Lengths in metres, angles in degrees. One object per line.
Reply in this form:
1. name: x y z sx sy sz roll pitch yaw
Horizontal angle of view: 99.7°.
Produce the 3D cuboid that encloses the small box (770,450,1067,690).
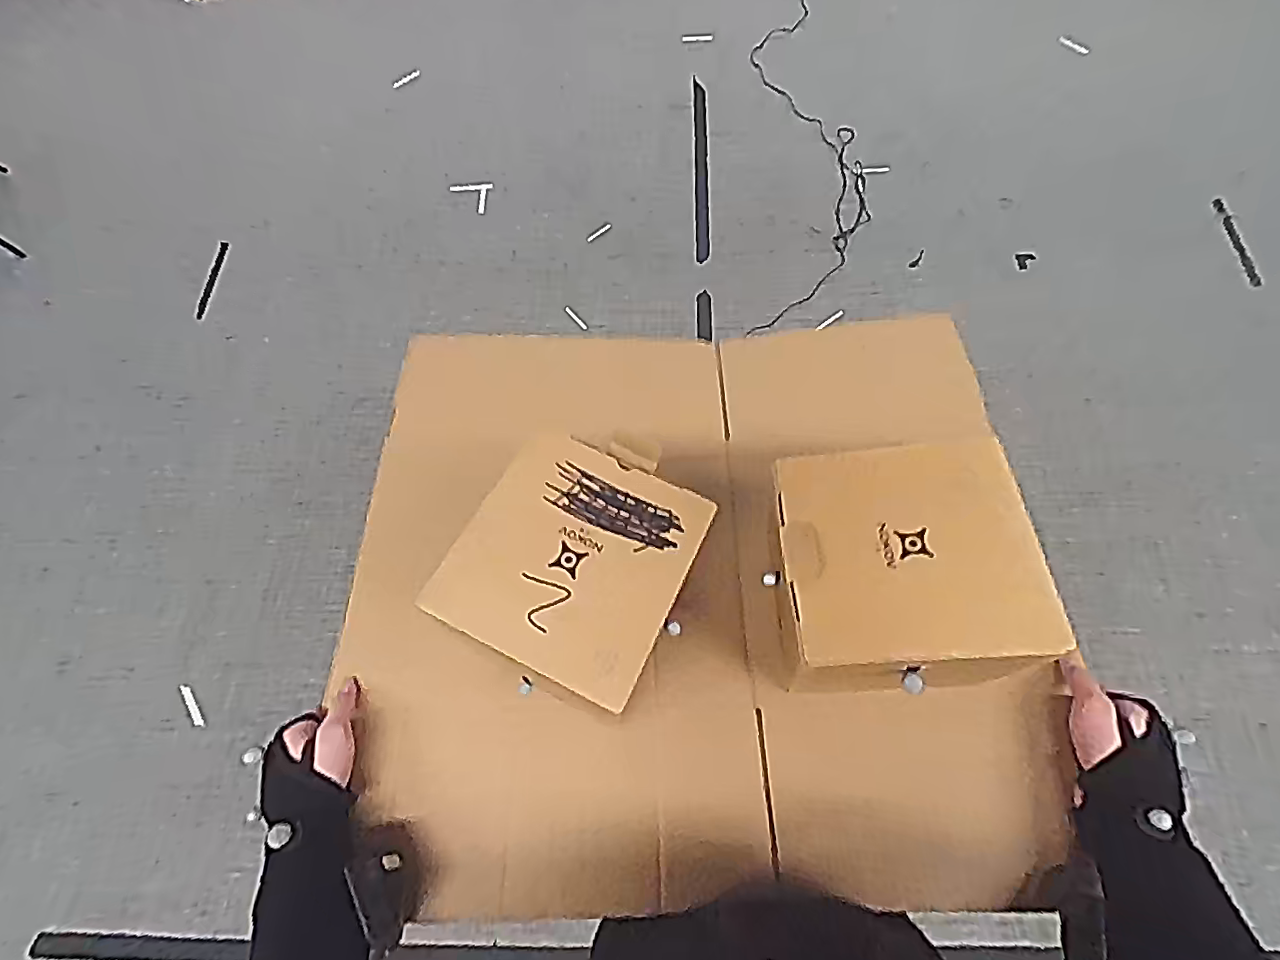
1. small box: 0.215 0.090 0.479 0.179 0.176 0.168 -6 63 9
